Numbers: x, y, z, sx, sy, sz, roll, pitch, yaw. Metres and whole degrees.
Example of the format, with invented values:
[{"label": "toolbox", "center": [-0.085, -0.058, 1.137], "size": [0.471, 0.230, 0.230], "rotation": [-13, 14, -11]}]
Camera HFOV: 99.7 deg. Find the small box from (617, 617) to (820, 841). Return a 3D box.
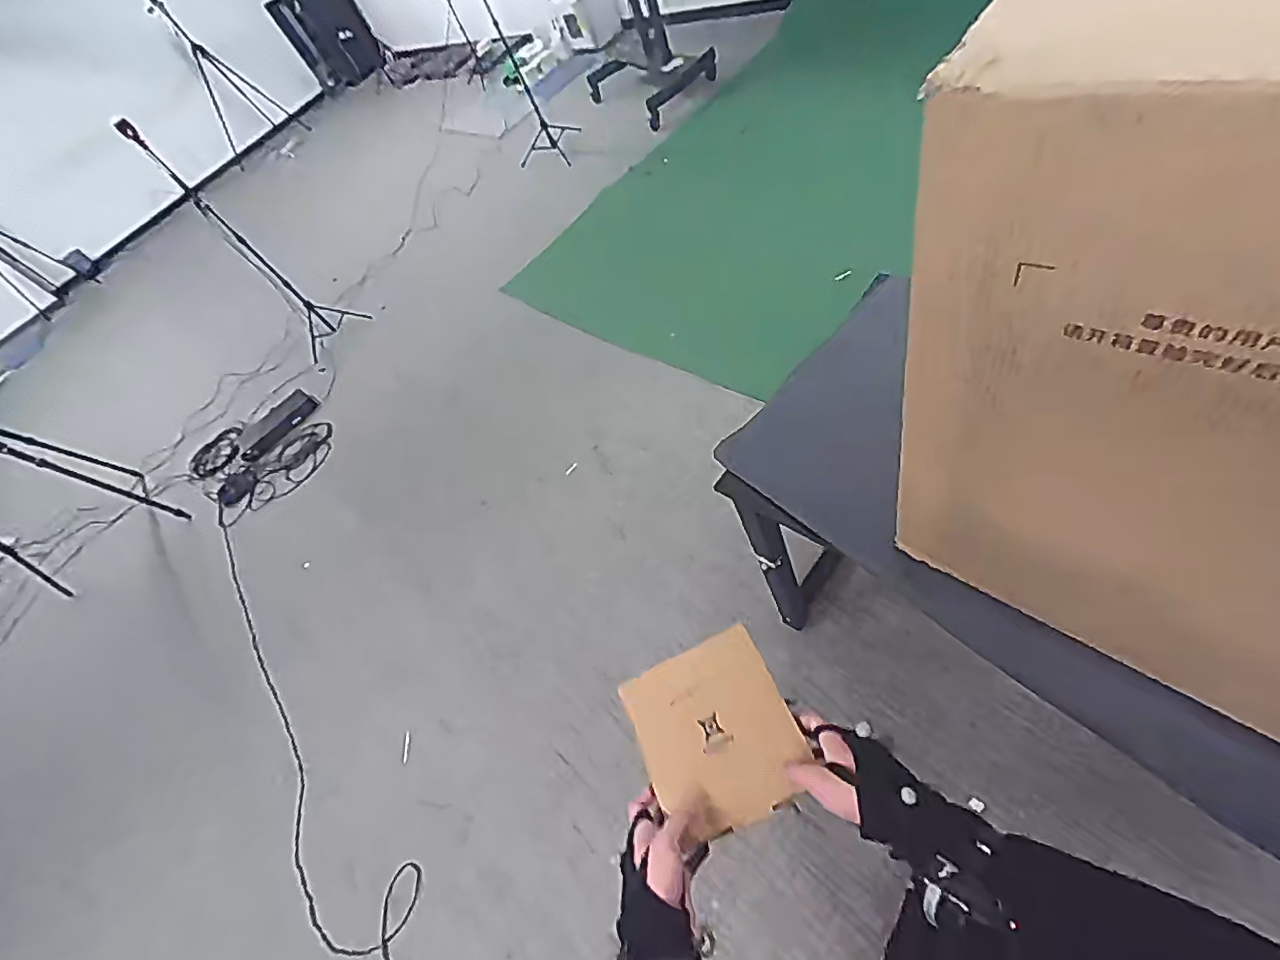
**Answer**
[{"label": "small box", "center": [0.097, 0.294, 0.644], "size": [0.168, 0.176, 0.179], "rotation": [-27, 57, 0]}]
